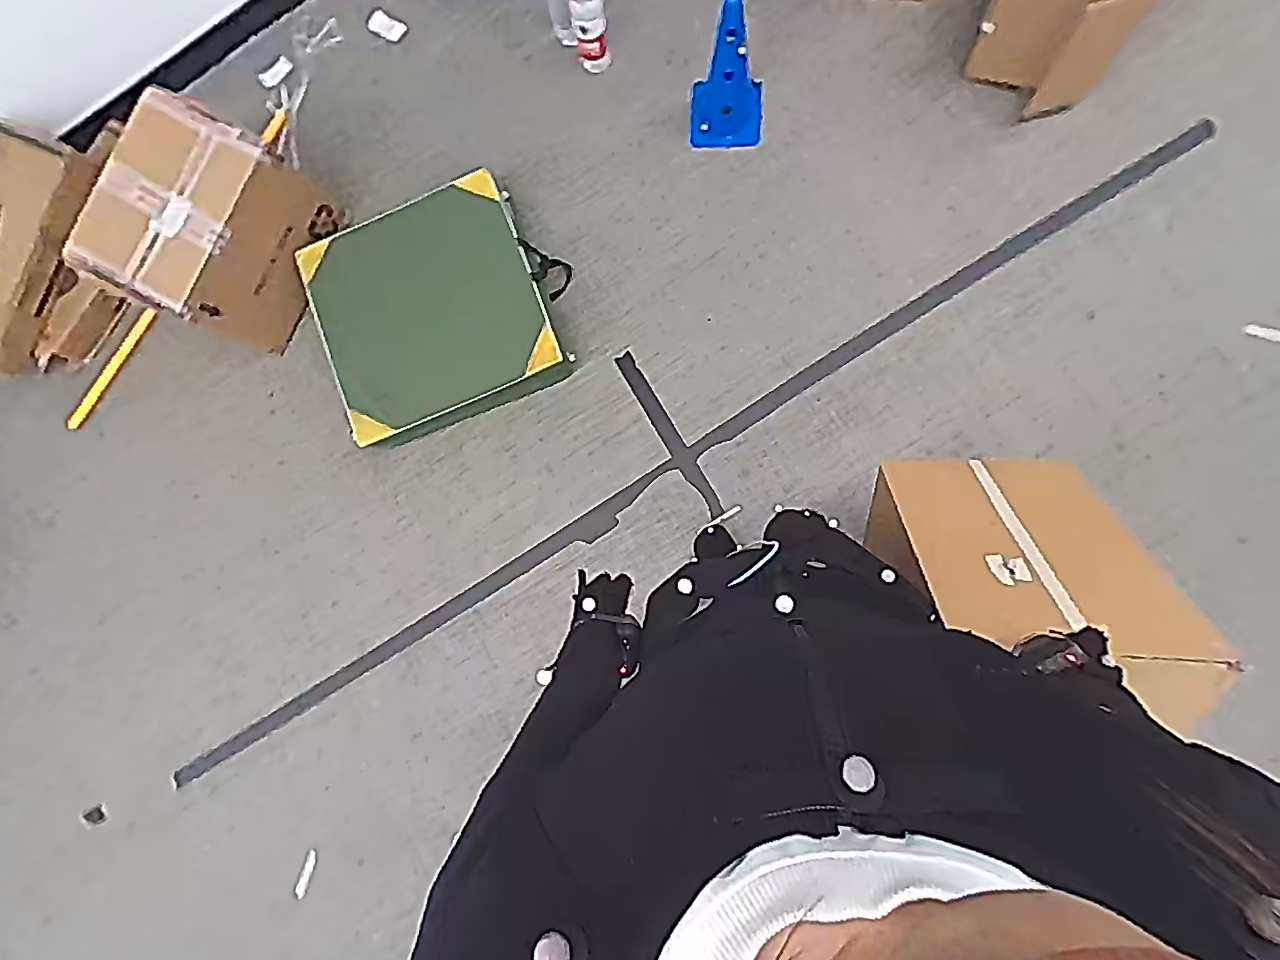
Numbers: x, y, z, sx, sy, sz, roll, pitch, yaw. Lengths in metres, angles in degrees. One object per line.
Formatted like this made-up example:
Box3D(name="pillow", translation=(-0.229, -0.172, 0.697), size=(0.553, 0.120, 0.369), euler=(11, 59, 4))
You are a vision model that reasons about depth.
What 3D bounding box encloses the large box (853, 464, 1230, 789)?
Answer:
Box3D(name="large box", translation=(0.561, 0.215, 0.882), size=(0.320, 0.408, 0.320), euler=(0, 128, 10))
